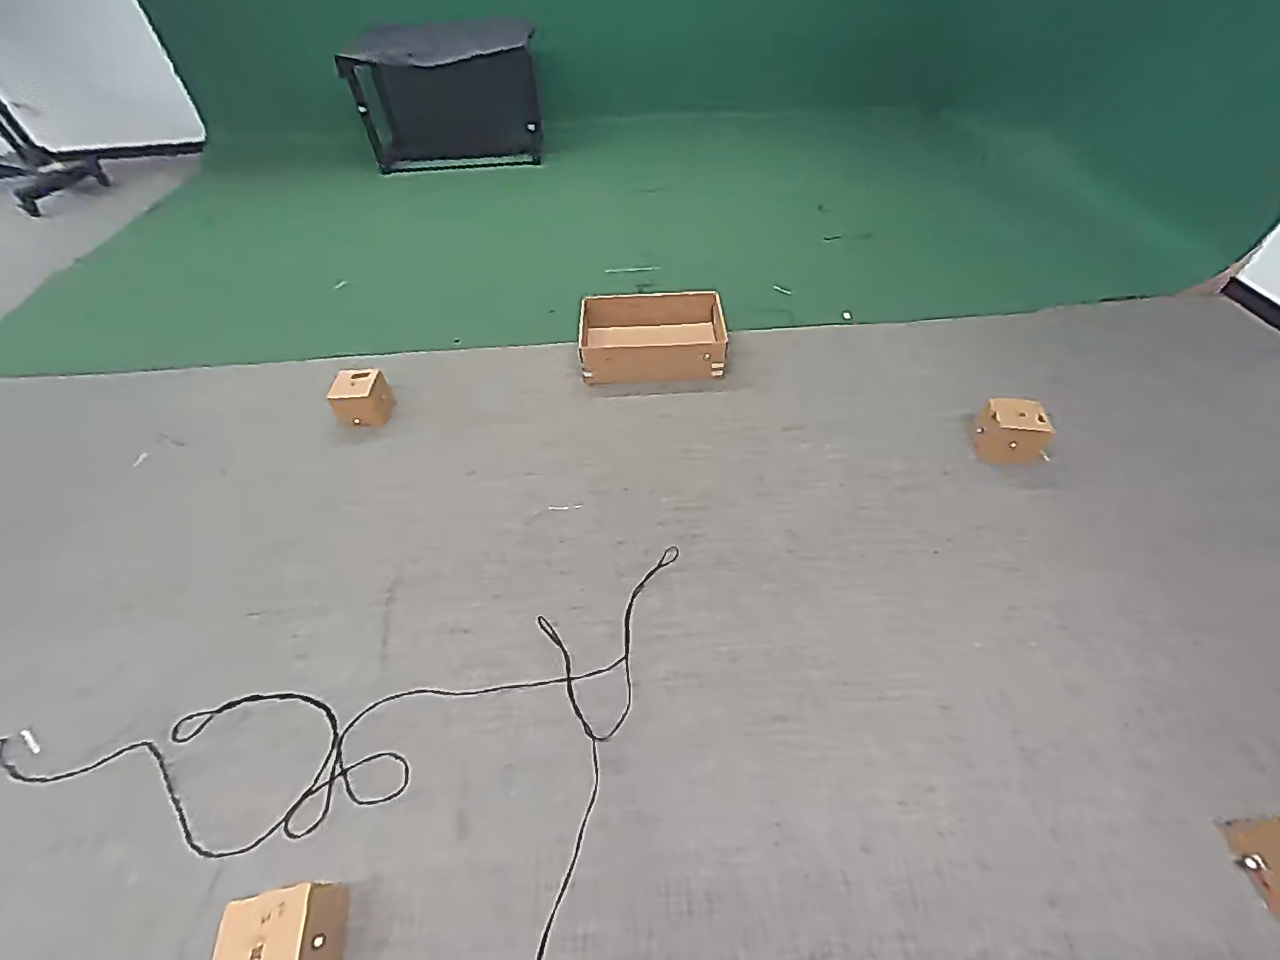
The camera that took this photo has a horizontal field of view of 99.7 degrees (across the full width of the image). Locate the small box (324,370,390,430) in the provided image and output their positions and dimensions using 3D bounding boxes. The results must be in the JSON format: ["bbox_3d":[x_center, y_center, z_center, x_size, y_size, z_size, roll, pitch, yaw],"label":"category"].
[{"bbox_3d":[-1.134,-0.323,2.184,0.168,0.176,0.179,-3,50,0],"label":"small box"}]

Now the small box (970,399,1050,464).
[{"bbox_3d":[1.320,-0.174,1.949,0.179,0.176,0.168,5,49,8],"label":"small box"}]

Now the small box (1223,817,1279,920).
[{"bbox_3d":[1.394,0.796,1.111,0.179,0.176,0.168,-5,48,0],"label":"small box"}]

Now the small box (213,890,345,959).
[{"bbox_3d":[-0.710,0.942,1.068,0.168,0.176,0.179,-11,49,-6],"label":"small box"}]
